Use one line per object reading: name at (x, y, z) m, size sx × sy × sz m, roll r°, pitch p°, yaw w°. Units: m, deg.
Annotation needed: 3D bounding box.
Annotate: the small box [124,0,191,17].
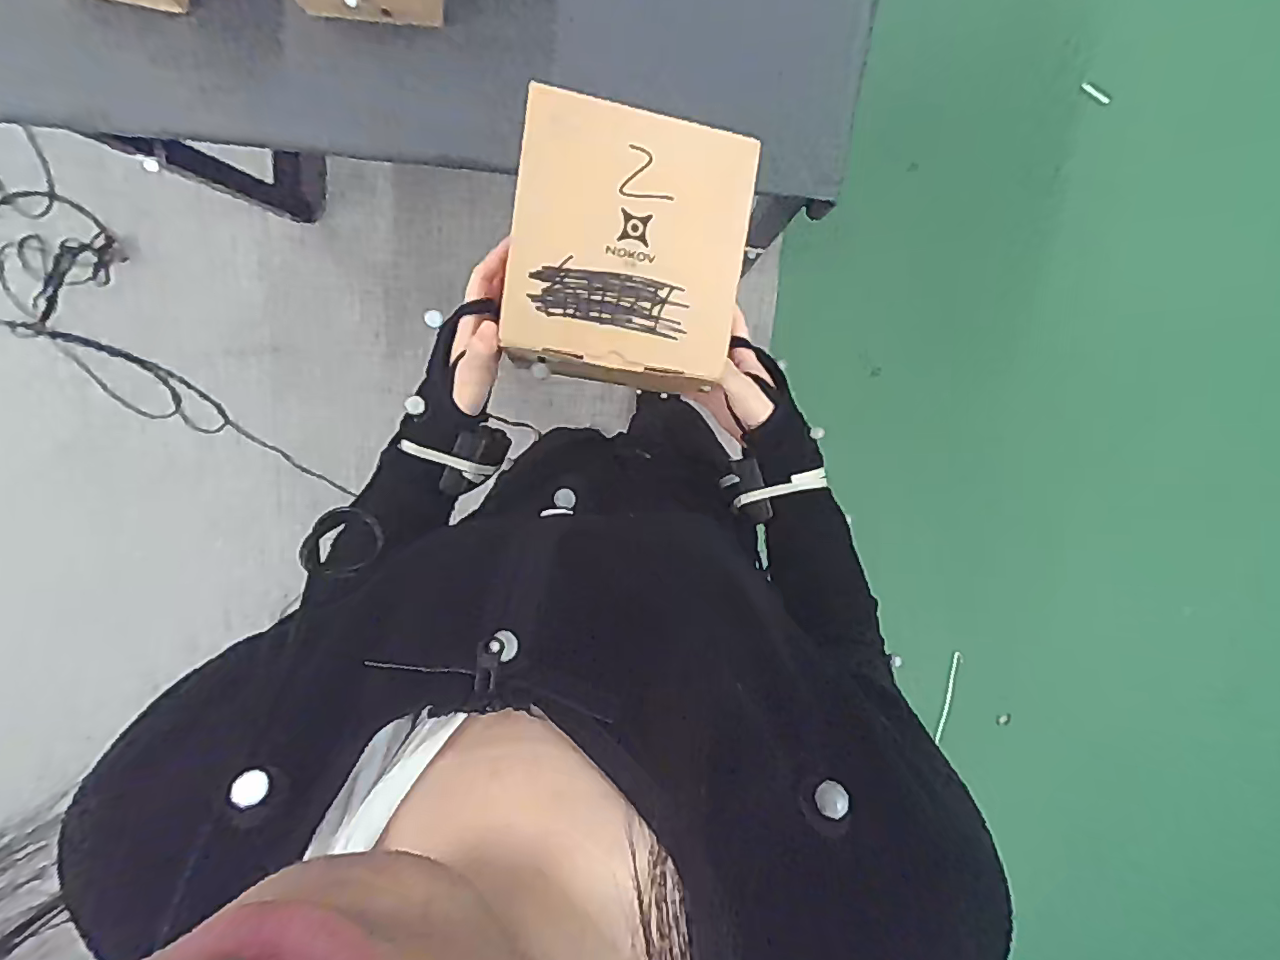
small box at (-0.610, -0.647, 0.571) m, size 0.168 × 0.176 × 0.179 m, roll 12°, pitch 99°, yaw -1°
